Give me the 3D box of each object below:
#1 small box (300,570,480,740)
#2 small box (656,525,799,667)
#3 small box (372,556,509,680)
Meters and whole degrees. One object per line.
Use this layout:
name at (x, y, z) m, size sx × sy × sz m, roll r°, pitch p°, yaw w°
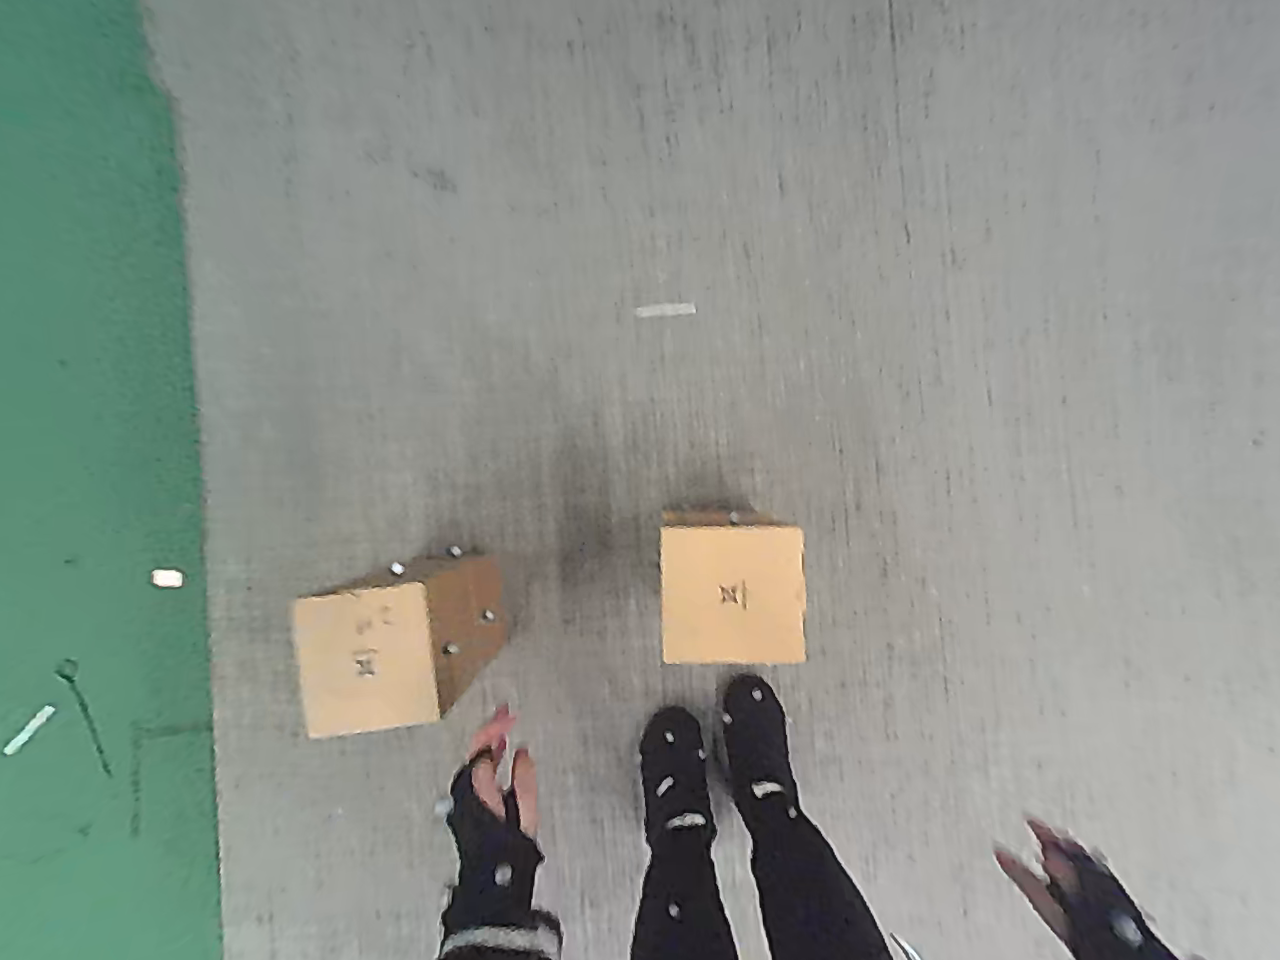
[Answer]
small box at (-0.335, 0.232, 0.756) m, size 0.168 × 0.176 × 0.179 m, roll -7°, pitch 89°, yaw 0°
small box at (0.111, 0.150, 0.746) m, size 0.179 × 0.176 × 0.168 m, roll -1°, pitch 88°, yaw 2°
small box at (-0.329, 0.232, 0.920) m, size 0.168 × 0.176 × 0.179 m, roll -6°, pitch 88°, yaw 1°
